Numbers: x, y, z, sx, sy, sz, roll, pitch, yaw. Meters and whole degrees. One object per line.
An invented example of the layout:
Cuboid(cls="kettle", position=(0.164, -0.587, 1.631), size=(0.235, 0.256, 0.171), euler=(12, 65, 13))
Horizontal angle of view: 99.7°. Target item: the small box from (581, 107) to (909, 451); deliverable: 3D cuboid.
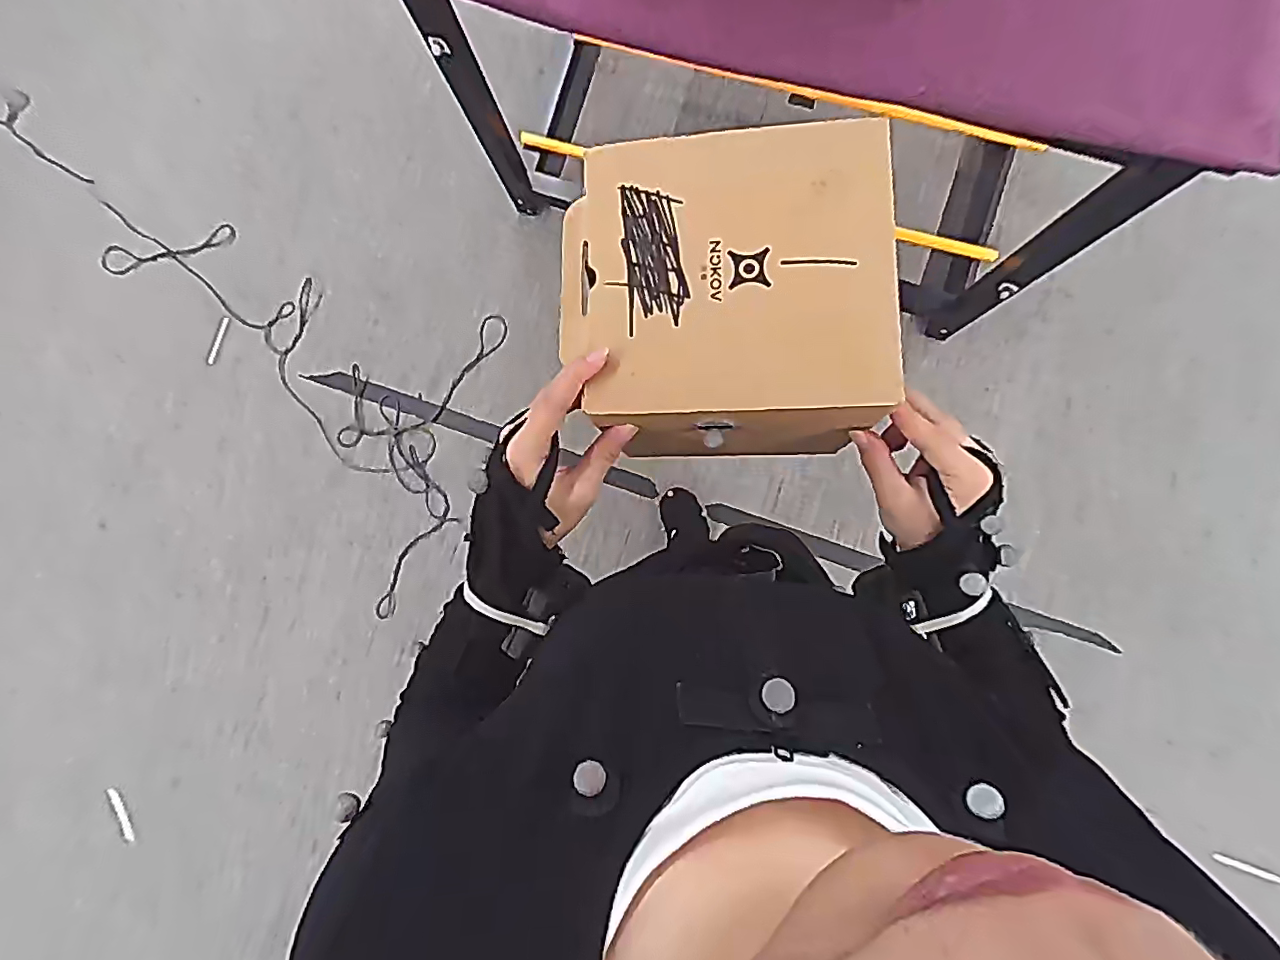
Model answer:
Cuboid(cls="small box", position=(0.065, -0.114, 0.377), size=(0.179, 0.176, 0.168), euler=(-1, 84, 7))
